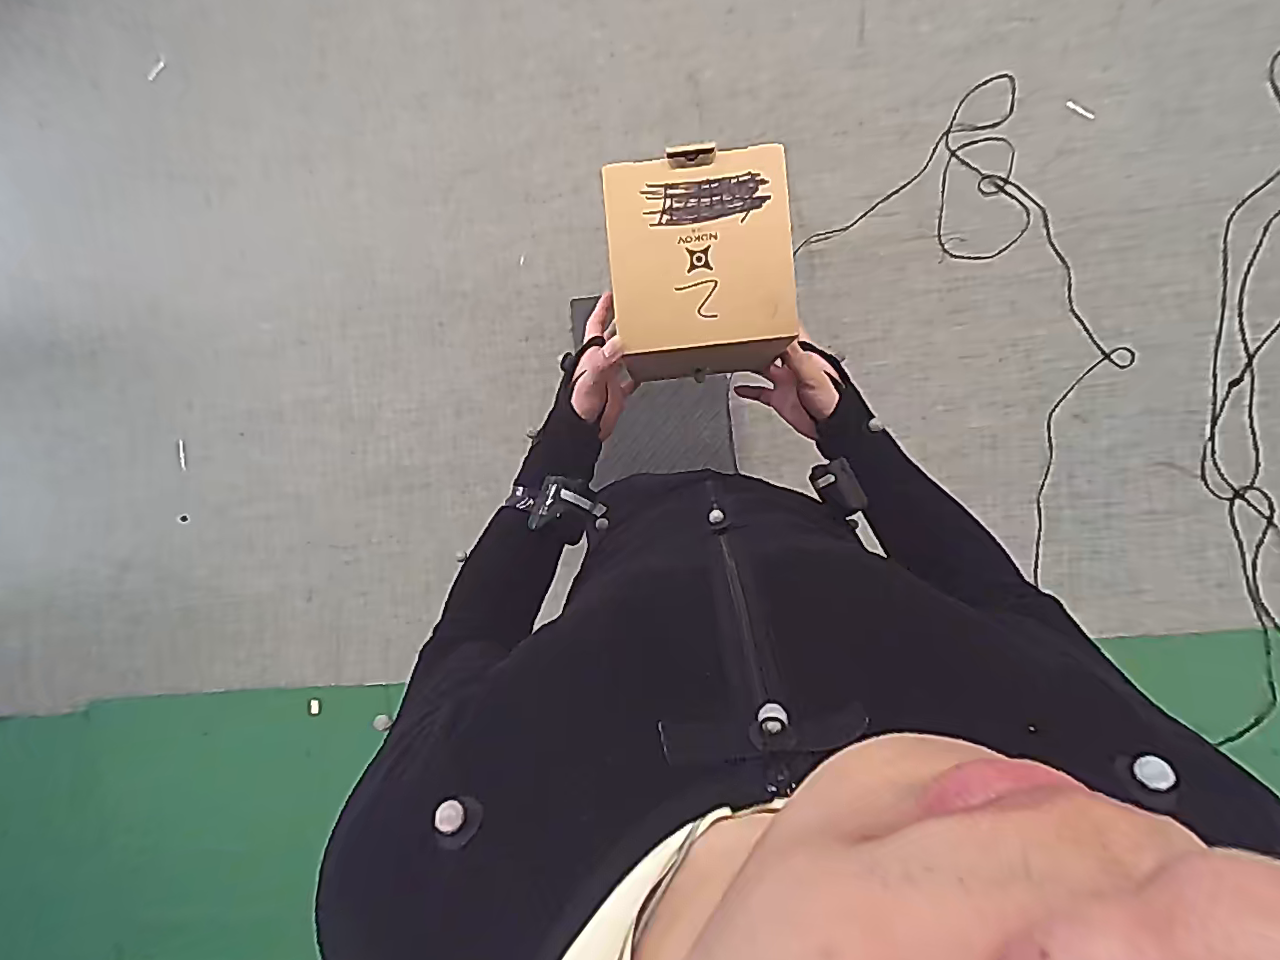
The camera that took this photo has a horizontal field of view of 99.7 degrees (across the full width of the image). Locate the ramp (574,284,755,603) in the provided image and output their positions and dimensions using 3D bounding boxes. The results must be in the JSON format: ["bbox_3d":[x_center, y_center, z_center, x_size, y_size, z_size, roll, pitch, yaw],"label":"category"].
[{"bbox_3d":[0.057,-0.133,1.719,0.509,0.206,0.991,-8,89,6],"label":"ramp"}]
